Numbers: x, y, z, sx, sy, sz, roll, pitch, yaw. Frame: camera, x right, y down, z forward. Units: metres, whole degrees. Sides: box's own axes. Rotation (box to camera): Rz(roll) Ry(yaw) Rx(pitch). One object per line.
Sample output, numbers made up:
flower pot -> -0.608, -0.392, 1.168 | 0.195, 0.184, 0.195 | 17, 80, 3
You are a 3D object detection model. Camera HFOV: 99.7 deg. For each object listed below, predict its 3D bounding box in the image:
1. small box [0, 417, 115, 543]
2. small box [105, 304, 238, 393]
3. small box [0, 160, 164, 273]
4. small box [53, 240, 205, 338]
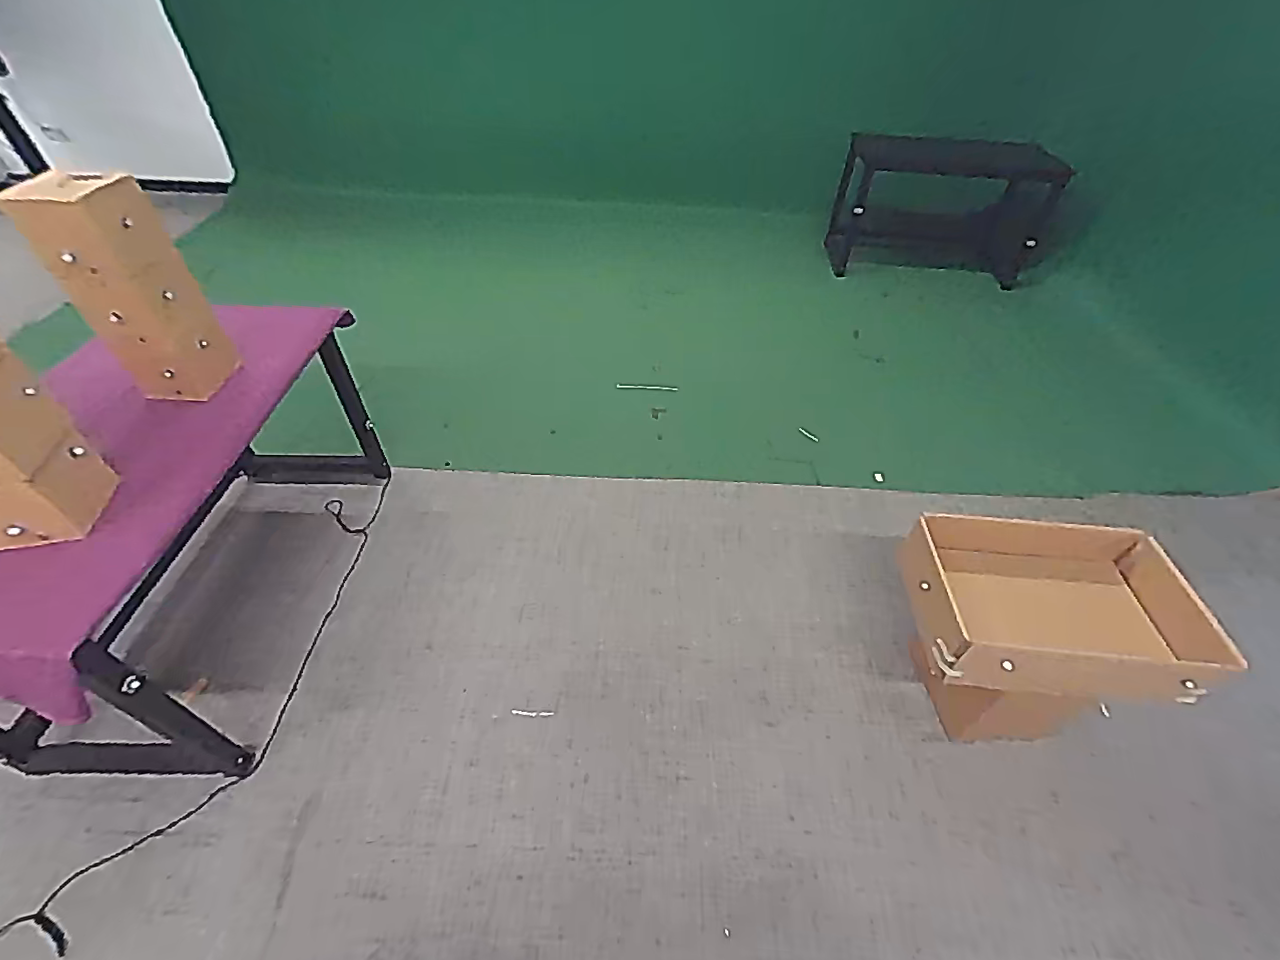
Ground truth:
small box -> -1.214, 0.000, 1.077 | 0.168, 0.176, 0.179 | -8, 47, -10
small box -> -1.201, -0.342, 1.407 | 0.168, 0.176, 0.179 | 4, 46, 0
small box -> -1.193, -0.570, 1.170 | 0.168, 0.176, 0.179 | 2, 47, -2
small box -> -1.197, -0.455, 1.289 | 0.168, 0.176, 0.179 | 3, 48, -1
